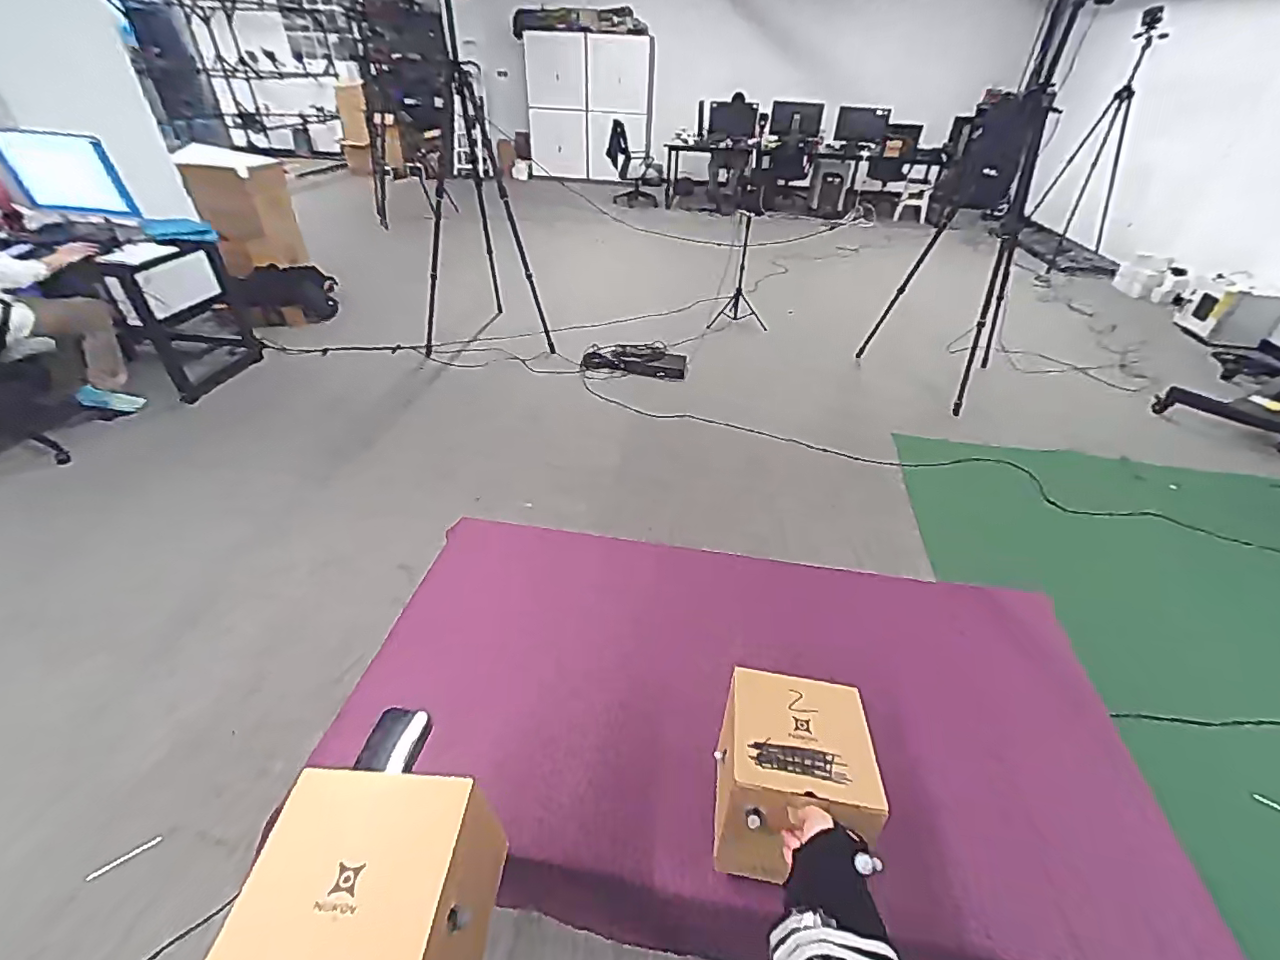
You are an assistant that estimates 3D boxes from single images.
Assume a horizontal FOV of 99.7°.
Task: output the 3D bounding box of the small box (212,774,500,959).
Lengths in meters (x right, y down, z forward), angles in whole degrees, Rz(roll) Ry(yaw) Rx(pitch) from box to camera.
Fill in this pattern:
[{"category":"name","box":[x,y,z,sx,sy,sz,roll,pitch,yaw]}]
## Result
[{"category":"small box","box":[-0.236,0.397,0.491,0.168,0.176,0.179,1,41,4]}]
